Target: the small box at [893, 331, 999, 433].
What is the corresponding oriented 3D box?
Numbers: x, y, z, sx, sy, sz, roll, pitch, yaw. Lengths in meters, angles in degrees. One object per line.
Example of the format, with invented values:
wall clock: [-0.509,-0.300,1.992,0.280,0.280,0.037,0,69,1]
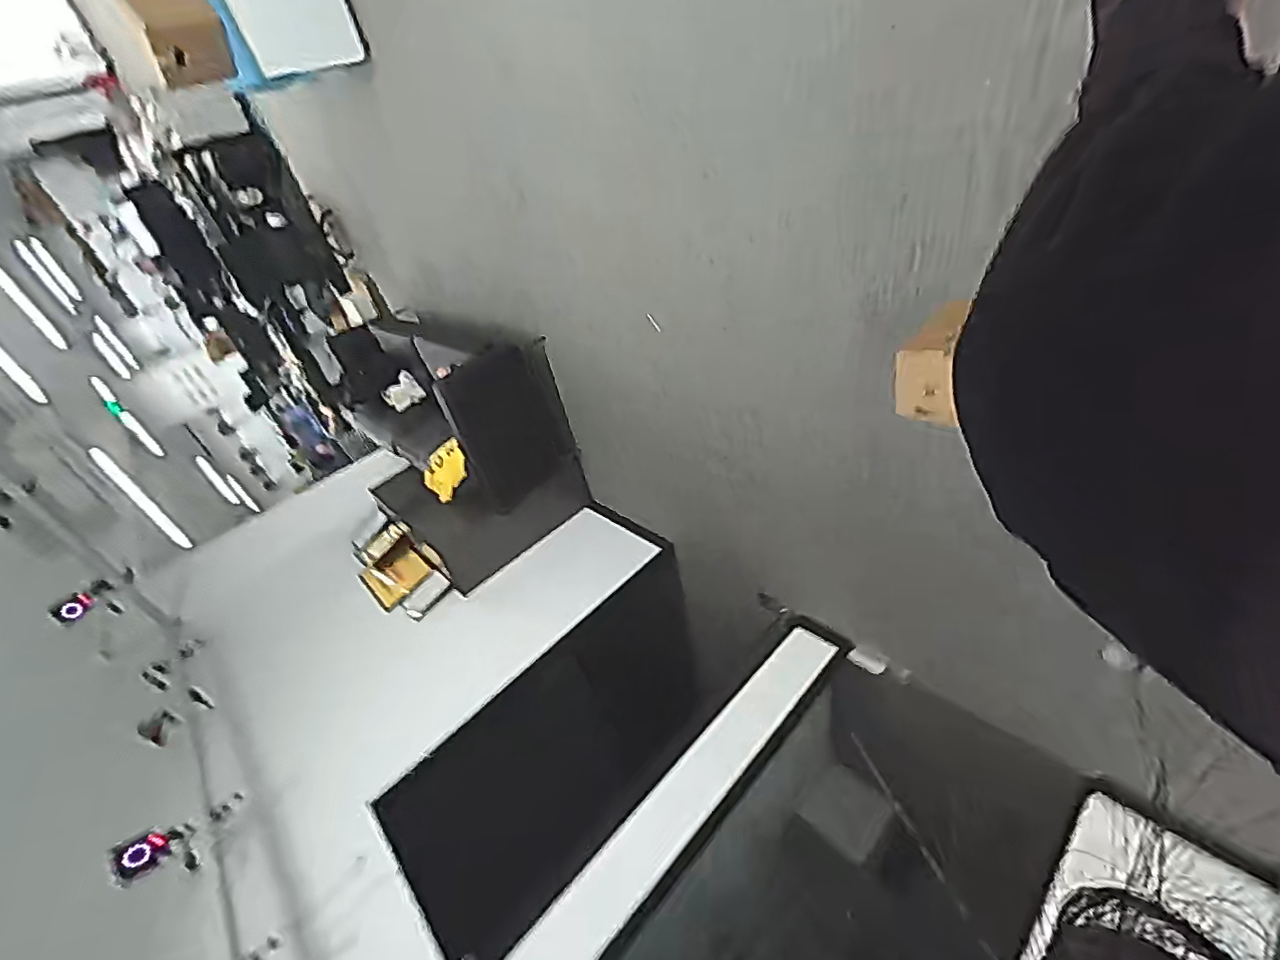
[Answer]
small box: [0.730,-0.242,1.292,0.168,0.176,0.179,24,140,44]
